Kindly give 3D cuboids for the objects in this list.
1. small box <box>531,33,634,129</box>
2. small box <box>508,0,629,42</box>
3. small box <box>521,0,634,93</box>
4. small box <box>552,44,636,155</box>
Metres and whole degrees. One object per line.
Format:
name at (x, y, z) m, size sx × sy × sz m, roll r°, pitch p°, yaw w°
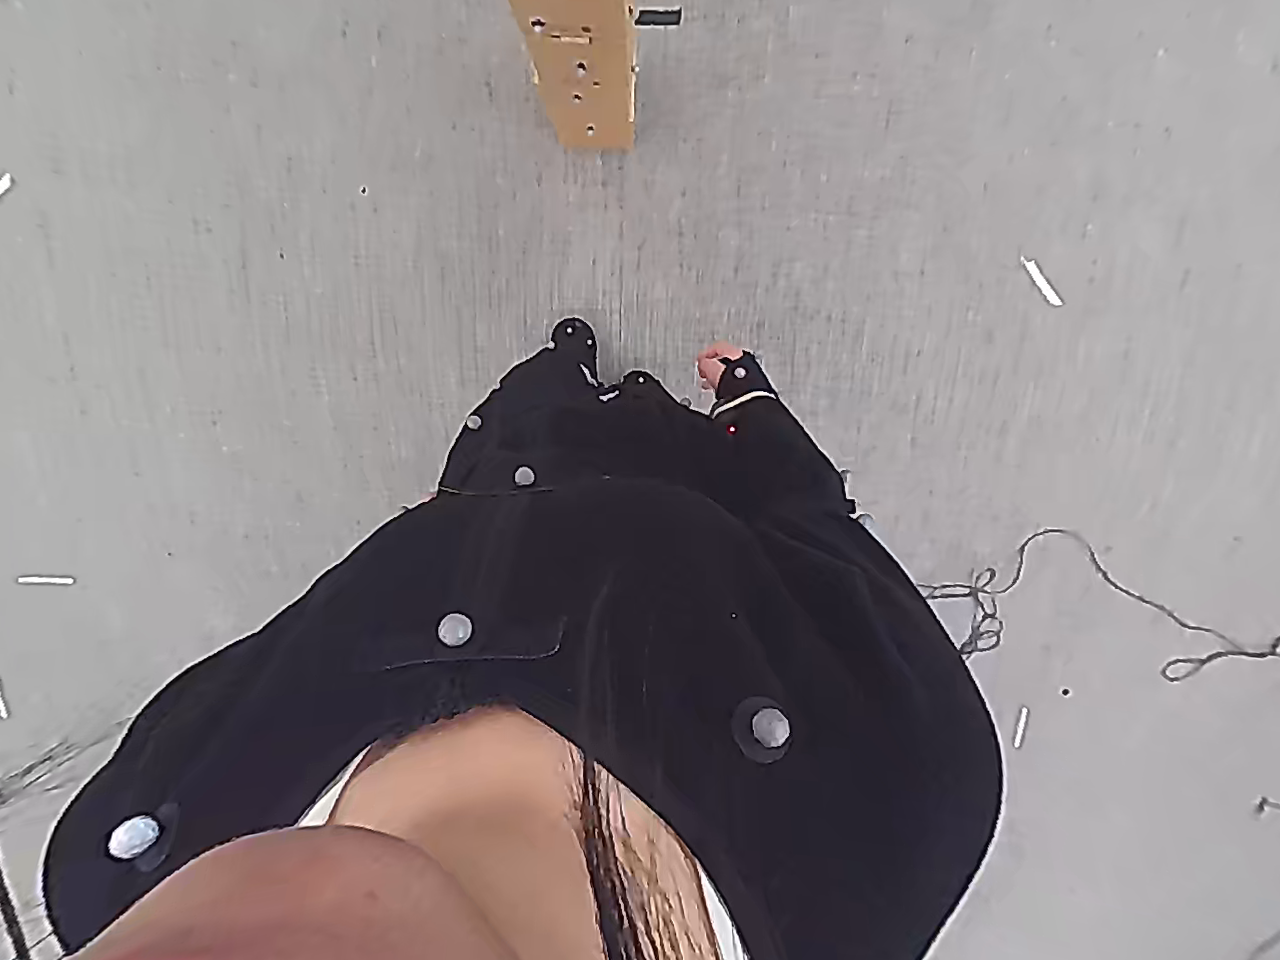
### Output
small box at (-0.106, -0.808, 1.051) m, size 0.179 × 0.176 × 0.168 m, roll 4°, pitch 104°, yaw -1°
small box at (-0.098, -0.736, 0.732) m, size 0.168 × 0.176 × 0.179 m, roll 2°, pitch 103°, yaw -1°
small box at (-0.096, -0.772, 0.892) m, size 0.168 × 0.176 × 0.179 m, roll 3°, pitch 104°, yaw -1°
small box at (-0.101, -0.849, 1.210) m, size 0.179 × 0.176 × 0.168 m, roll 1°, pitch 104°, yaw -1°
